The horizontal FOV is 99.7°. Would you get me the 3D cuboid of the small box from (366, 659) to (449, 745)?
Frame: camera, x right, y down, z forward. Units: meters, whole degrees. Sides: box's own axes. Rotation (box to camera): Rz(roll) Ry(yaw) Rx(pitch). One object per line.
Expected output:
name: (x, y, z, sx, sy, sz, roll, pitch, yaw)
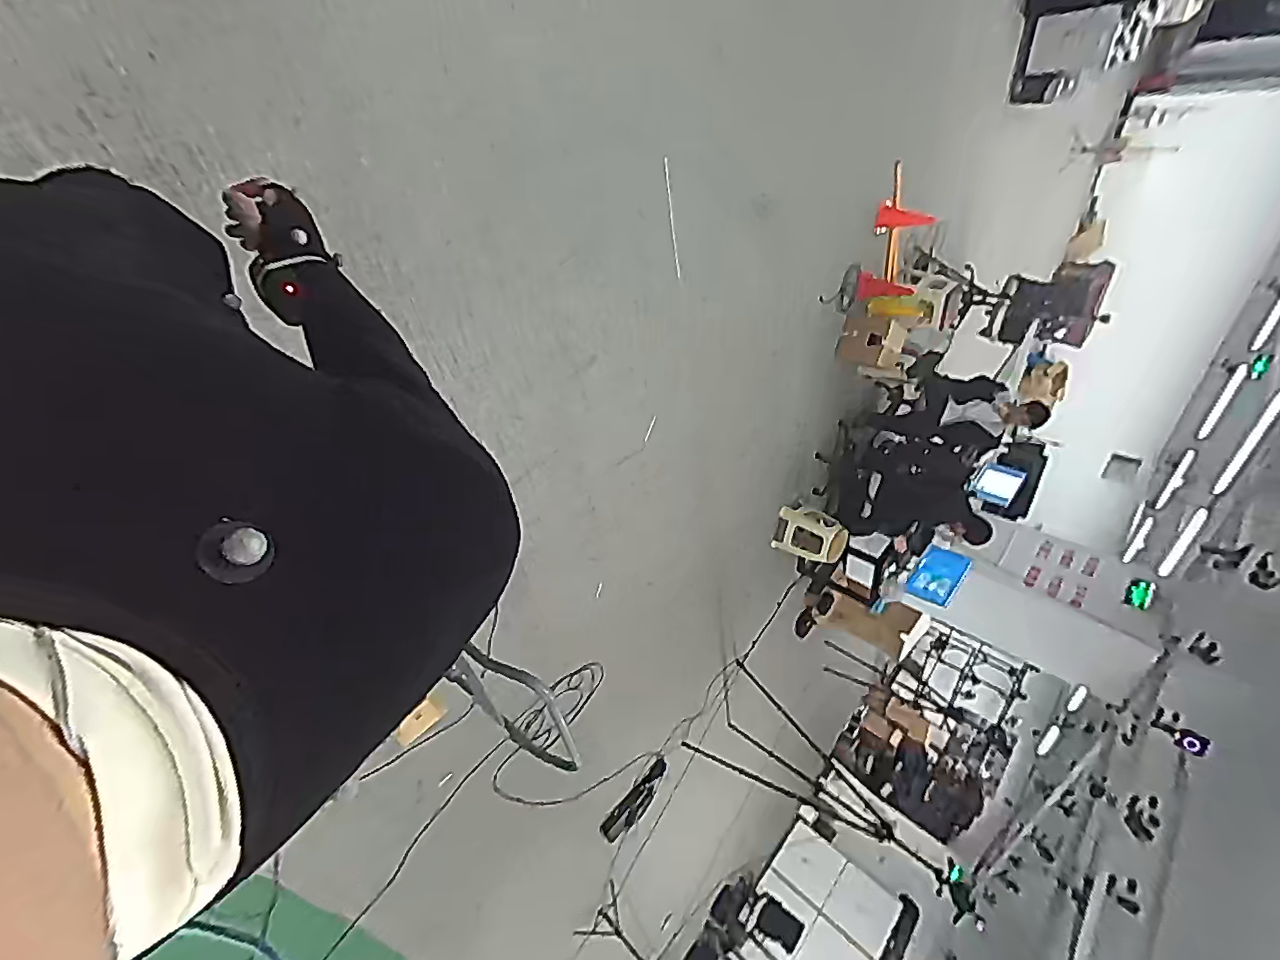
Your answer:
small box: (-0.771, 0.723, 1.788, 0.168, 0.176, 0.179, -36, 136, -32)
